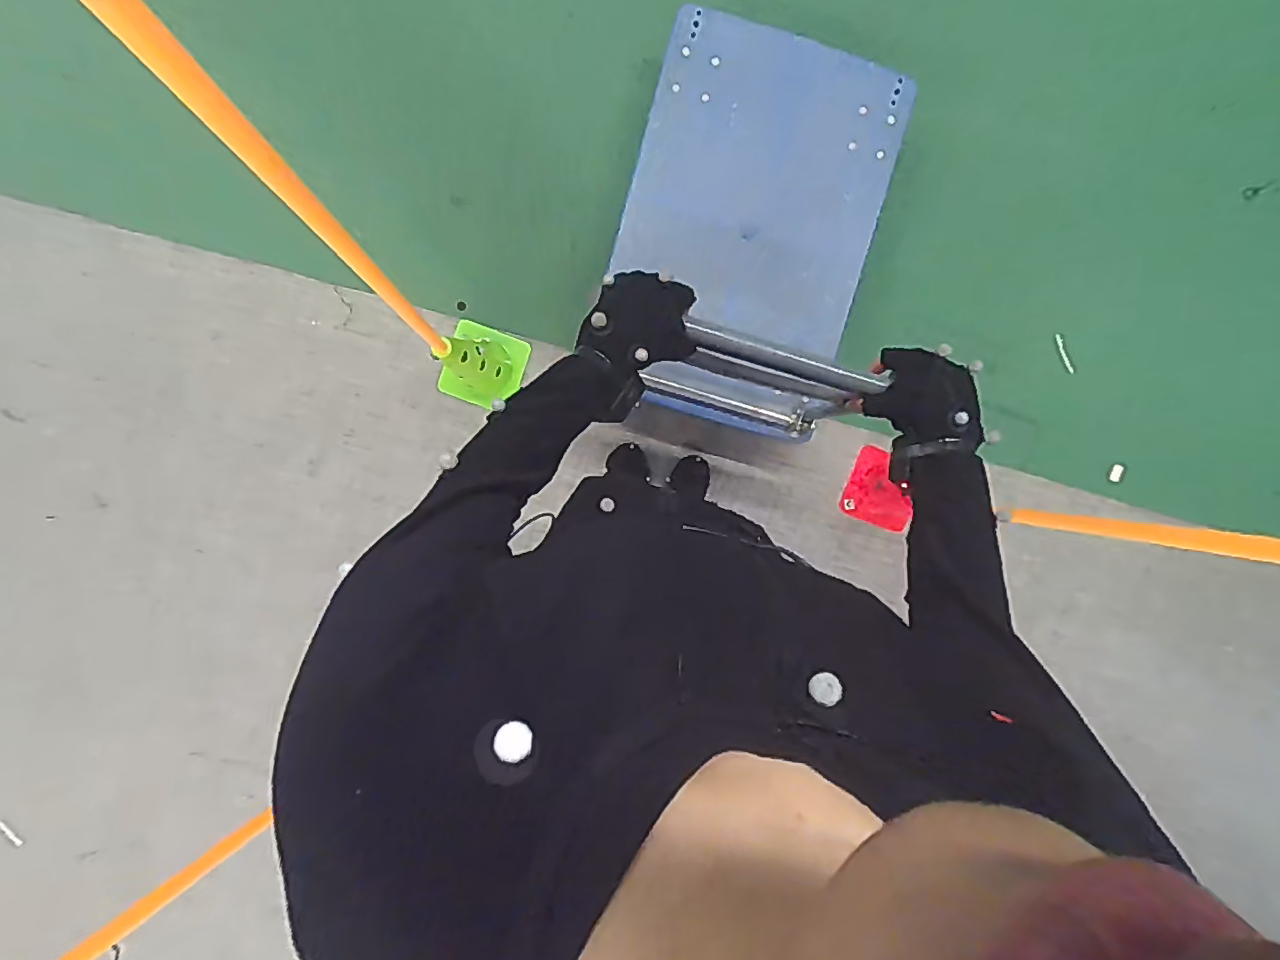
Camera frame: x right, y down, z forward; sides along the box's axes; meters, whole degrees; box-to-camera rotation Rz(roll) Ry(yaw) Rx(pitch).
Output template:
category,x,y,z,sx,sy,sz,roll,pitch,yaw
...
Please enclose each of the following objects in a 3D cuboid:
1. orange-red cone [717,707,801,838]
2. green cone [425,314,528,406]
category,x,y,z,sx,sy,sz,roll,pitch,yaw
orange-red cone,0.339,0.779,1.393,0.199,0.360,0.198,14,94,-2
green cone,-0.408,-0.299,1.249,0.202,0.368,0.200,19,94,-4
